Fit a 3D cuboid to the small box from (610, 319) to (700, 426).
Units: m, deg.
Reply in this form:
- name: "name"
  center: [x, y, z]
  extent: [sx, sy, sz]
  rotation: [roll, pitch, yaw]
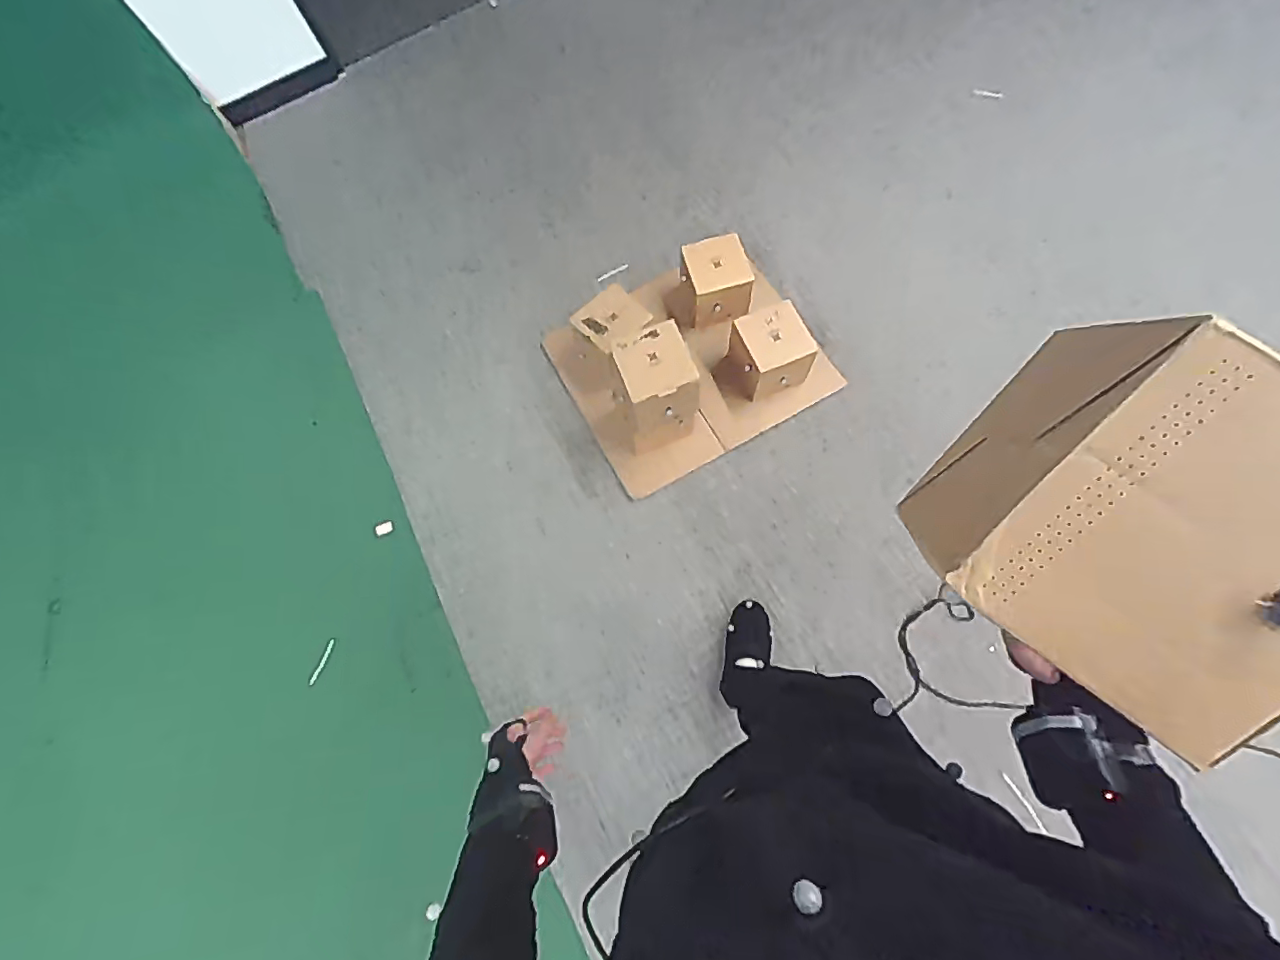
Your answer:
- name: "small box"
  center: [0.039, -0.247, 1.304]
  extent: [0.168, 0.176, 0.179]
  rotation: [-20, 71, -3]

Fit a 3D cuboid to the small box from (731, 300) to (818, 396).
- name: "small box"
  center: [0.360, -0.350, 1.479]
  extent: [0.168, 0.176, 0.179]
  rotation: [-21, 71, -3]

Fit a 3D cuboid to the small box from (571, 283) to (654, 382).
- name: "small box"
  center: [-0.068, -0.414, 1.545]
  extent: [0.179, 0.176, 0.168]
  rotation: [-42, 73, -10]

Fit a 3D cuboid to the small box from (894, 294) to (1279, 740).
- name: "small box"
  center: [0.298, 0.008, 0.339]
  extent: [0.176, 0.168, 0.179]
  rotation: [38, 110, 7]
